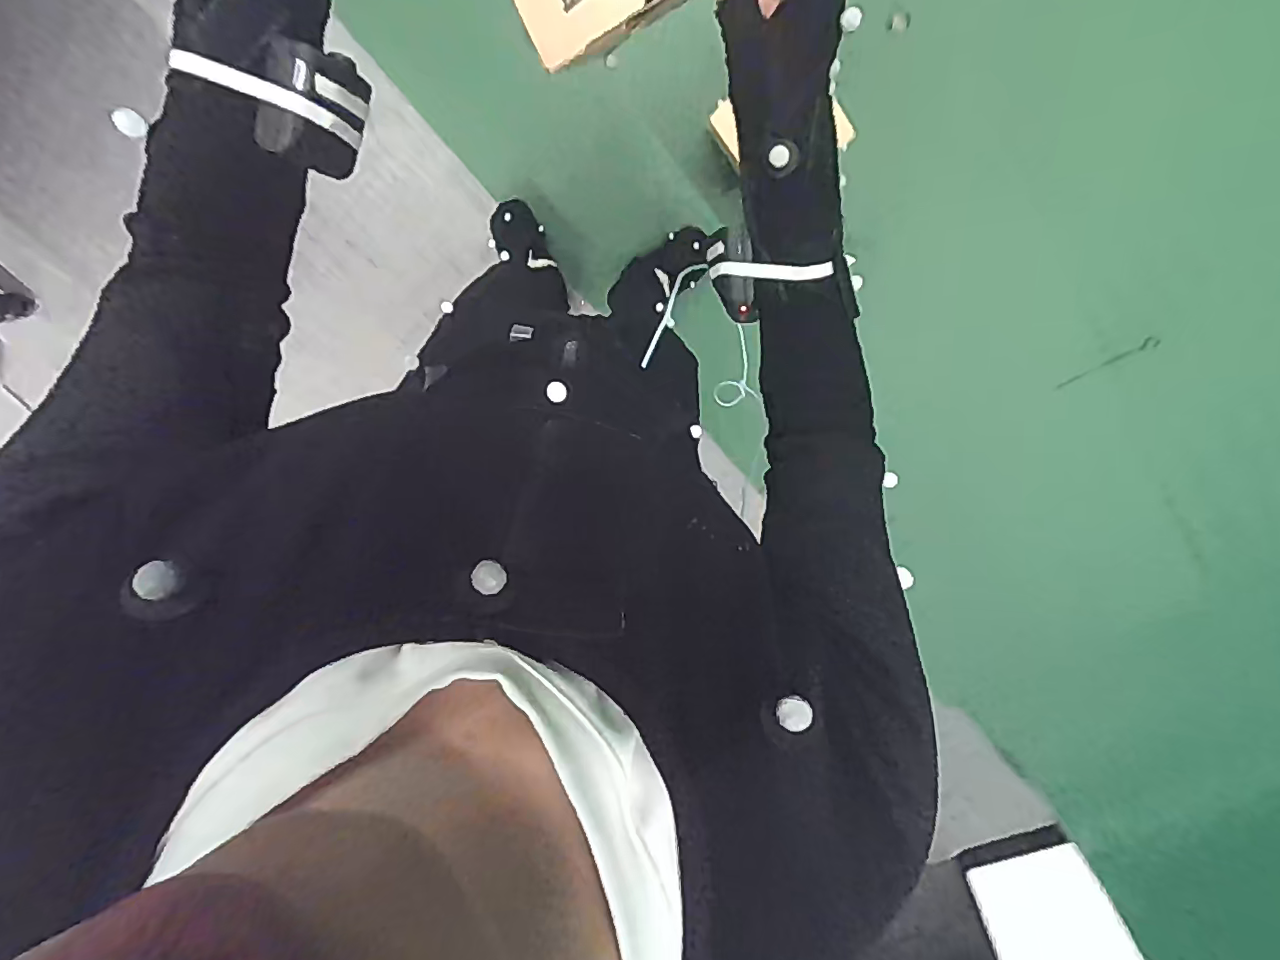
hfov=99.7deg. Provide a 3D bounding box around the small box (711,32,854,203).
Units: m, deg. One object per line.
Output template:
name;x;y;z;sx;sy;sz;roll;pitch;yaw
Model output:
small box;0.234;-0.612;0.936;0.168;0.176;0.179;-35;112;23

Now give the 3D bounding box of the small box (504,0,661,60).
small box;-0.031;-0.419;0.356;0.168;0.176;0.179;-19;124;17
